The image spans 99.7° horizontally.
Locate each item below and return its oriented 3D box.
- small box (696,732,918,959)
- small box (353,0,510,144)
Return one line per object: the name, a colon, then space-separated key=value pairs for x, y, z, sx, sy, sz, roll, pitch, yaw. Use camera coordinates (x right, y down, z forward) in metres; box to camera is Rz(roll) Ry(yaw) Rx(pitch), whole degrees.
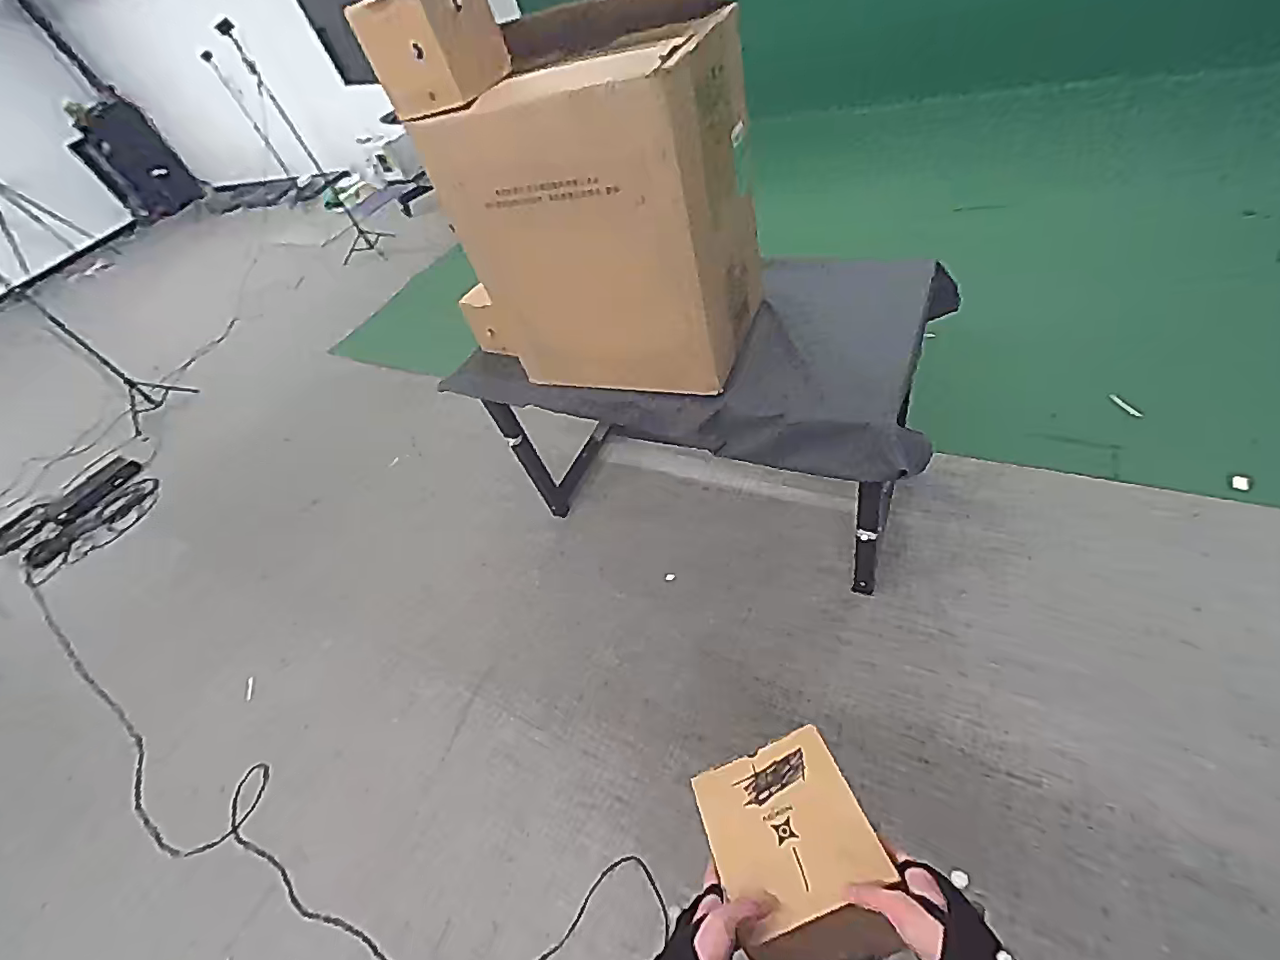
small box: x=0.187 y=0.440 z=0.623 sx=0.168 sy=0.176 sz=0.179 roll=-27 pitch=30 yaw=1
small box: x=-0.370 y=-0.742 z=0.994 sx=0.168 sy=0.176 sz=0.179 roll=7 pitch=52 yaw=27
